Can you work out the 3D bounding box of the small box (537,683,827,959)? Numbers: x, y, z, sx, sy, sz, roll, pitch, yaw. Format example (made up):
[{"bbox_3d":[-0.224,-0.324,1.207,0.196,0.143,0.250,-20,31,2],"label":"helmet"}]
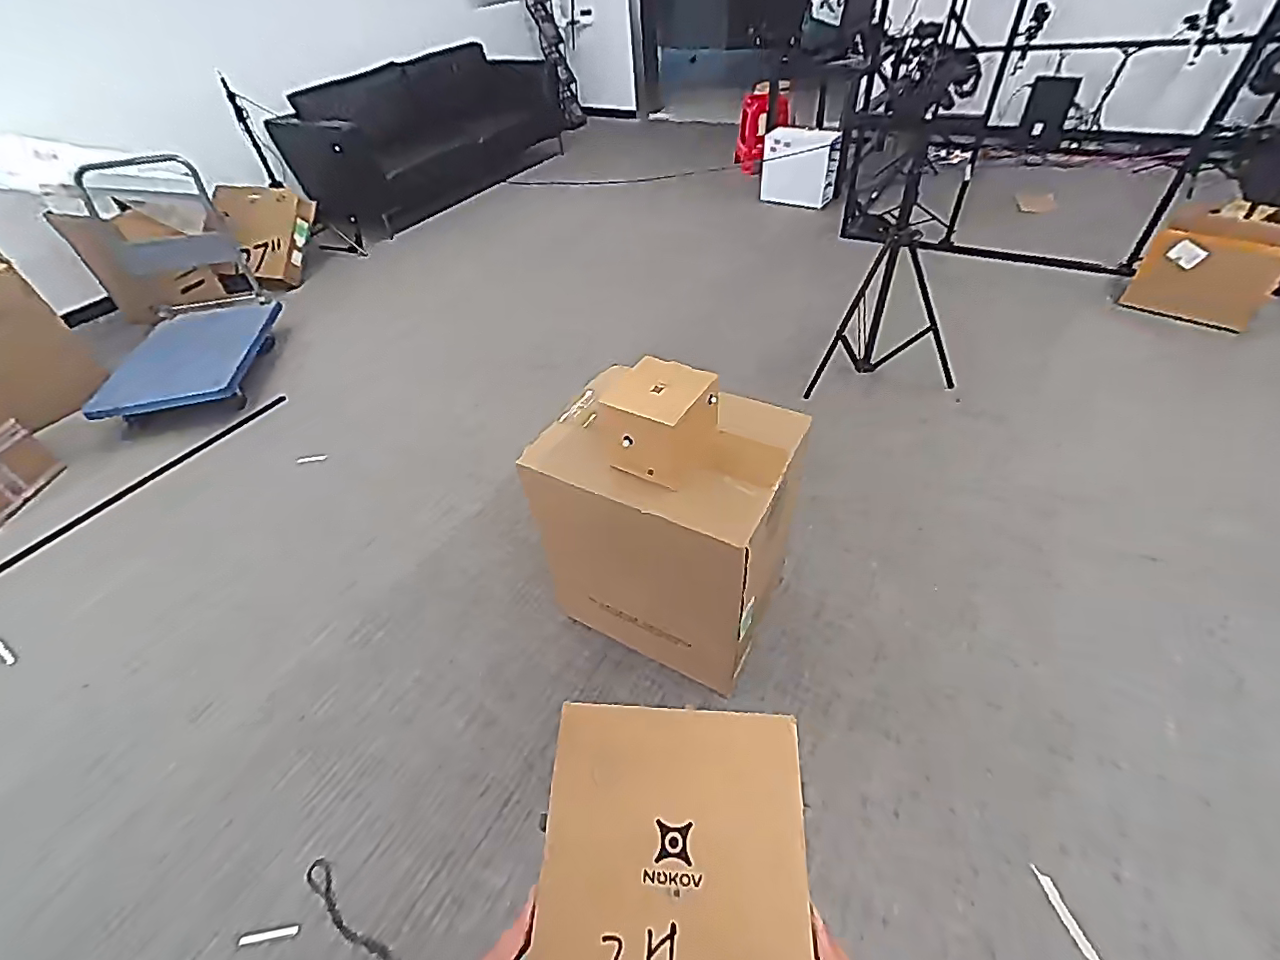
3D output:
[{"bbox_3d":[0.035,0.264,0.401,0.168,0.176,0.179,1,59,8],"label":"small box"}]

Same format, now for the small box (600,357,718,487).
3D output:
[{"bbox_3d":[0.046,-0.113,1.068,0.168,0.176,0.179,21,50,25],"label":"small box"}]
